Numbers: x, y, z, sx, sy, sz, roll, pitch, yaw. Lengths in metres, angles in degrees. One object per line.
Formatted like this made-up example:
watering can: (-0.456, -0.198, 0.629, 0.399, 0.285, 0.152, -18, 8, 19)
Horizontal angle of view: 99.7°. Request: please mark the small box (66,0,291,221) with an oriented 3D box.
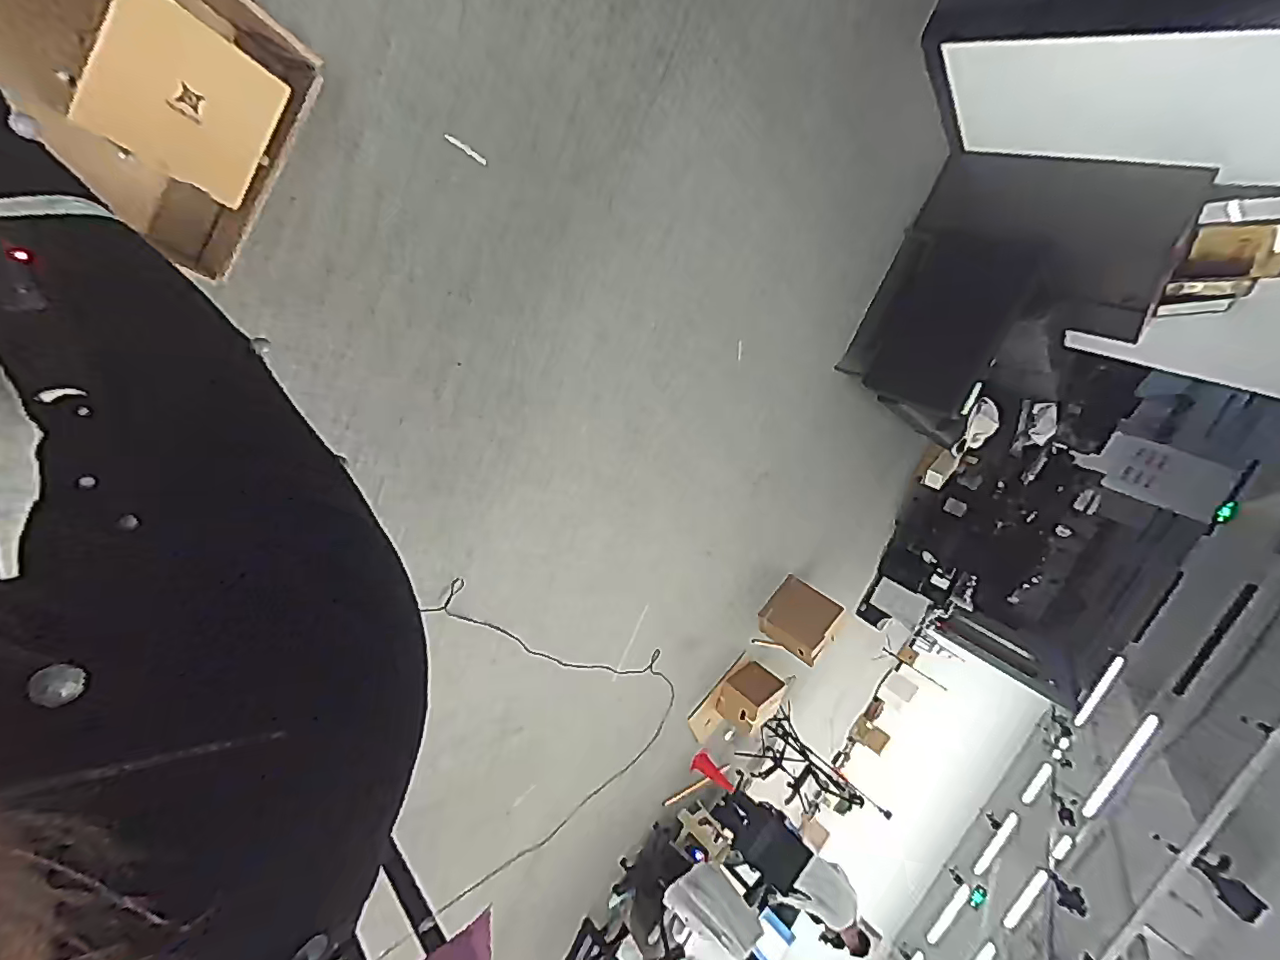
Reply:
small box: (-0.596, -0.472, 0.697, 0.168, 0.176, 0.179, 22, 99, -53)
